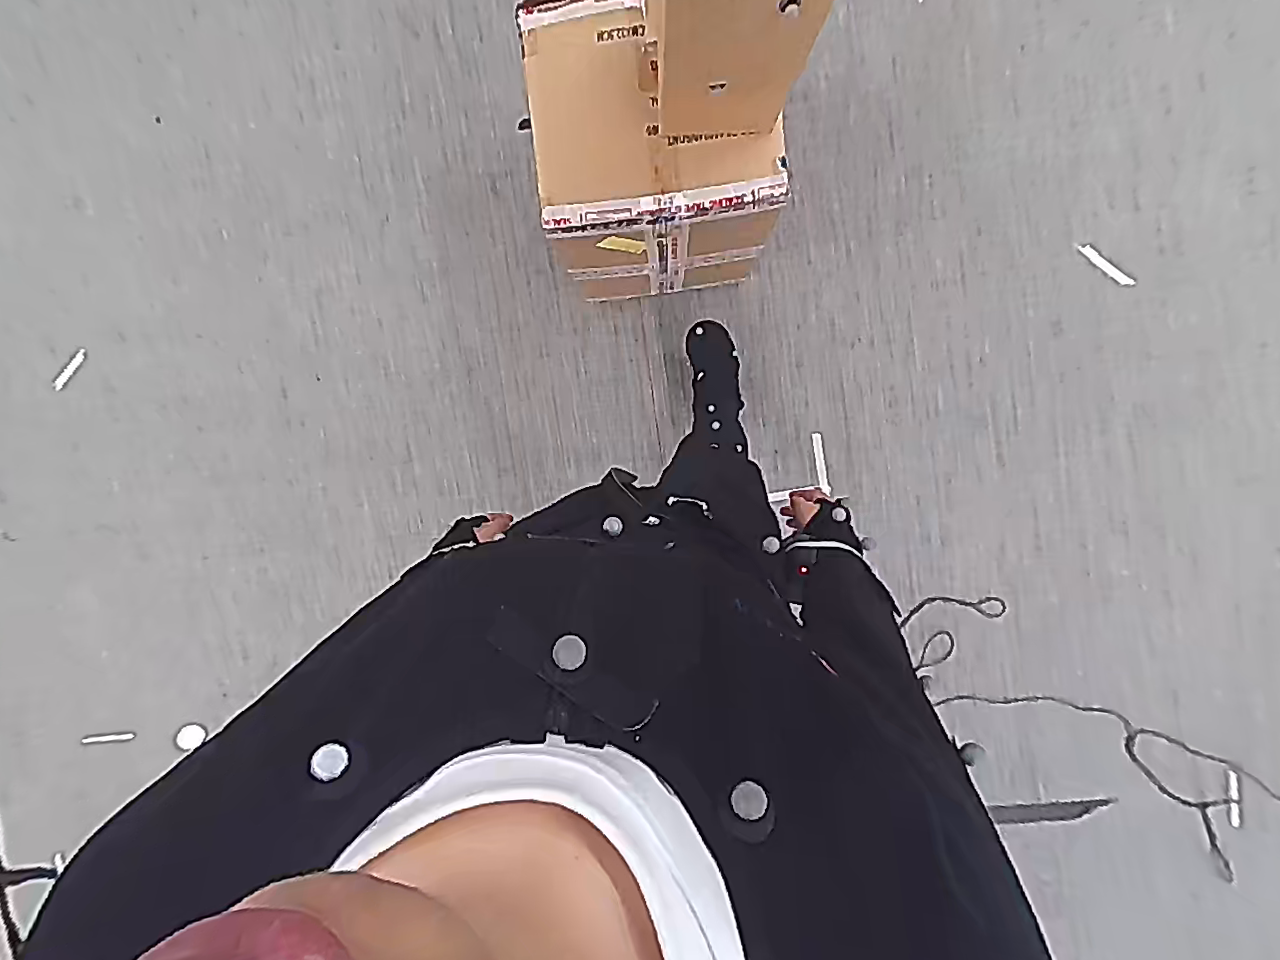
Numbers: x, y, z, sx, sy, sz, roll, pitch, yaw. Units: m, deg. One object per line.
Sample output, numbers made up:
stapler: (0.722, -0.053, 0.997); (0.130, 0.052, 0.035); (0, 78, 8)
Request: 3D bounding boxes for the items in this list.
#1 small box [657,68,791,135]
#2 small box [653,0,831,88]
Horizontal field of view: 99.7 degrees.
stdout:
small box: (0.110, -0.597, 0.734); (0.179, 0.176, 0.168); (-1, 96, 1)
small box: (0.103, -0.556, 0.572); (0.179, 0.176, 0.168); (-4, 95, 2)
